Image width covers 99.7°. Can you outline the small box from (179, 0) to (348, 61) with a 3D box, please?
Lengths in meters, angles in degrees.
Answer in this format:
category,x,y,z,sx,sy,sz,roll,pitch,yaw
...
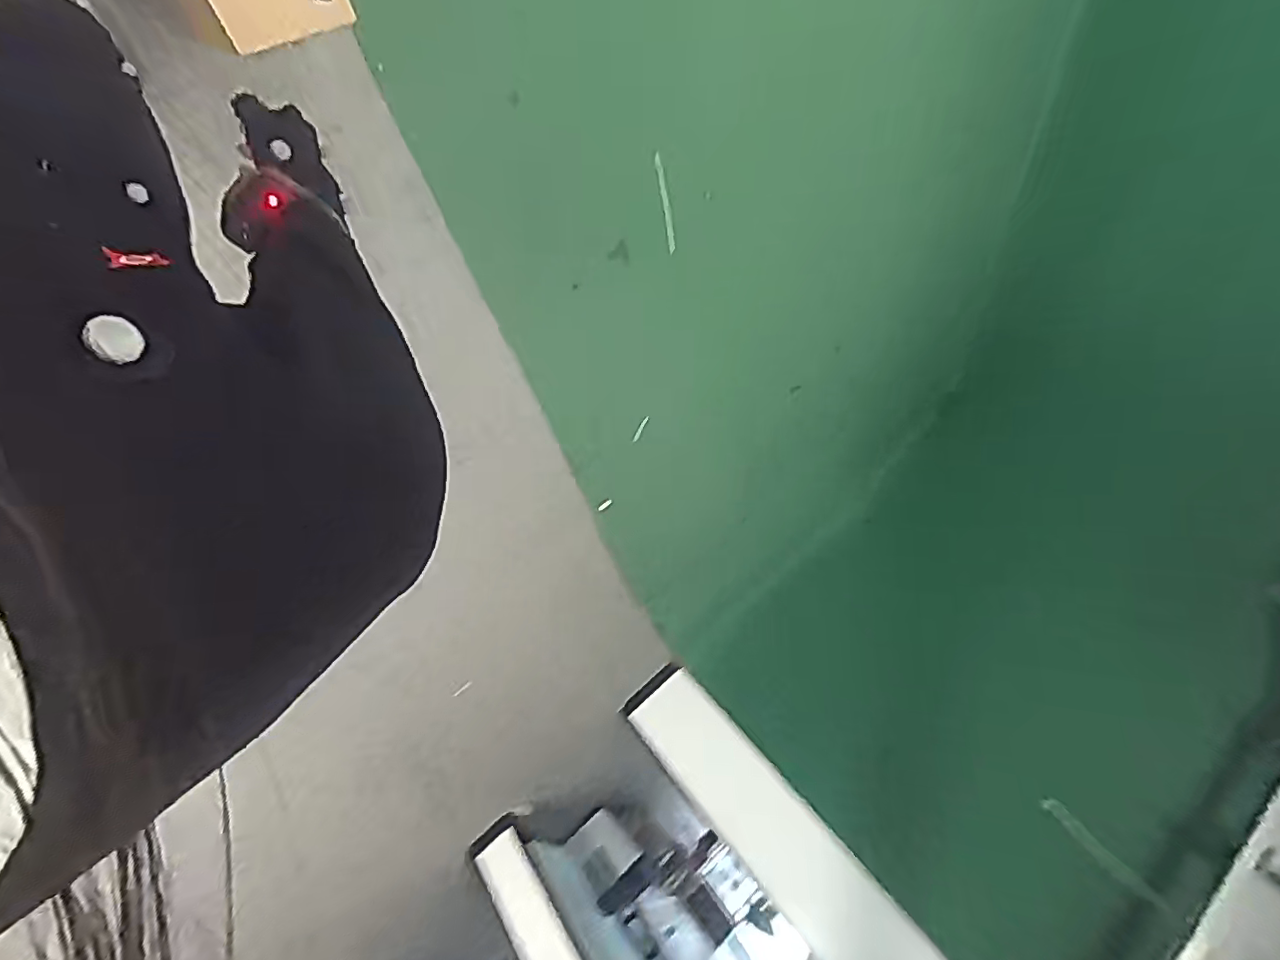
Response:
category,x,y,z,sx,sy,sz,roll,pitch,yaw
small box,-0.555,-0.713,0.754,0.179,0.176,0.168,-35,141,-19
